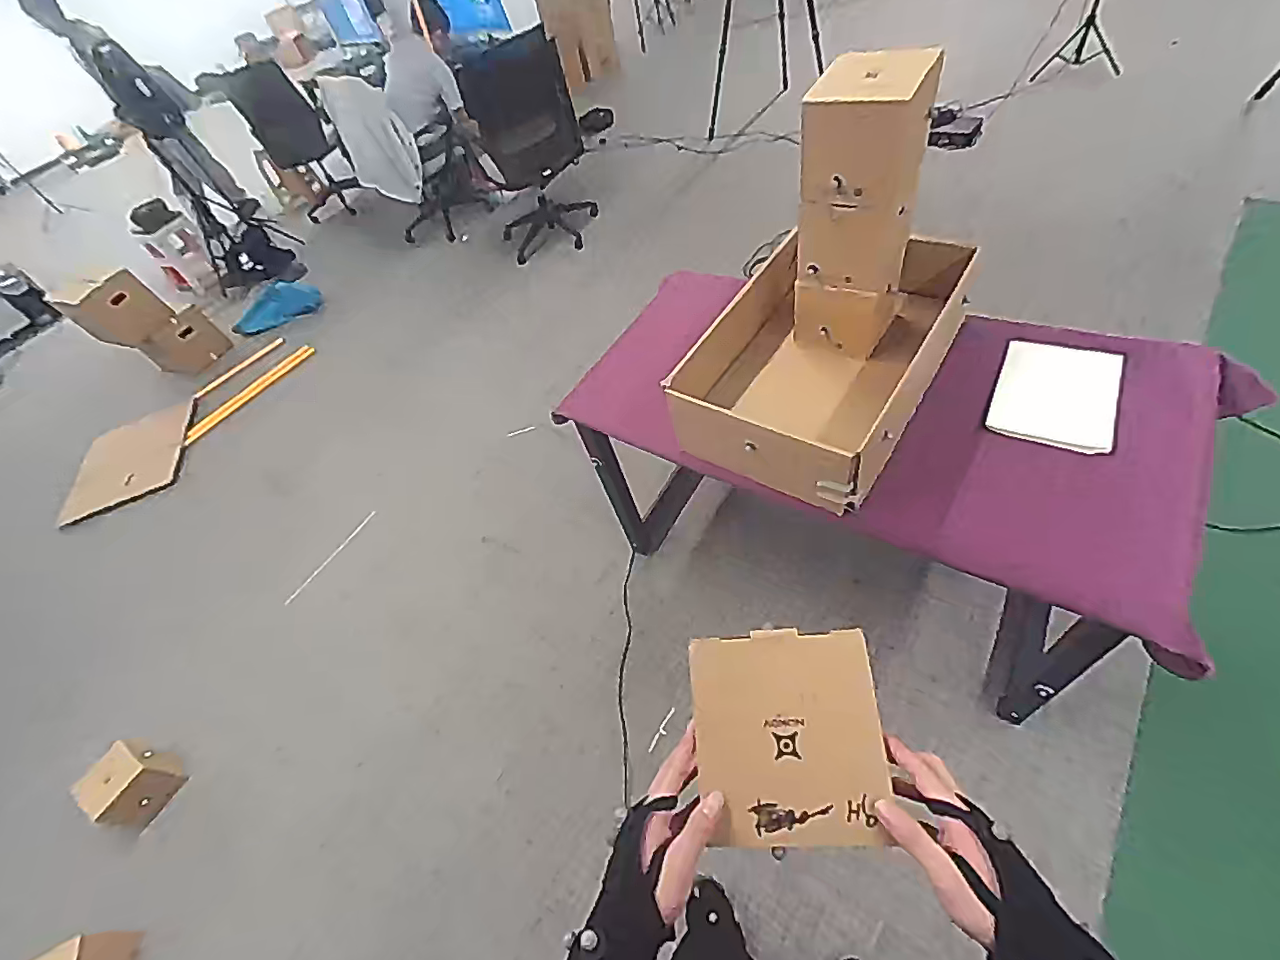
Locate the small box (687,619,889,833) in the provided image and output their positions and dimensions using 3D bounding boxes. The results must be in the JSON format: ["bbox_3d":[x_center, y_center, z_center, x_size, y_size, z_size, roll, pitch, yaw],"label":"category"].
[{"bbox_3d":[0.139,0.245,0.565,0.168,0.176,0.179,-5,71,9],"label":"small box"}]

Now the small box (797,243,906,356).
[{"bbox_3d":[0.446,-0.400,1.167,0.168,0.176,0.179,22,64,28],"label":"small box"}]

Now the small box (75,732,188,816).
[{"bbox_3d":[-1.594,0.932,1.706,0.179,0.176,0.168,19,60,27],"label":"small box"}]

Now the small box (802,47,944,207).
[{"bbox_3d":[0.381,-0.592,0.910,0.168,0.176,0.179,22,64,28],"label":"small box"}]

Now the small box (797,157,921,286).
[{"bbox_3d":[0.415,-0.500,1.040,0.168,0.176,0.179,22,63,27],"label":"small box"}]
